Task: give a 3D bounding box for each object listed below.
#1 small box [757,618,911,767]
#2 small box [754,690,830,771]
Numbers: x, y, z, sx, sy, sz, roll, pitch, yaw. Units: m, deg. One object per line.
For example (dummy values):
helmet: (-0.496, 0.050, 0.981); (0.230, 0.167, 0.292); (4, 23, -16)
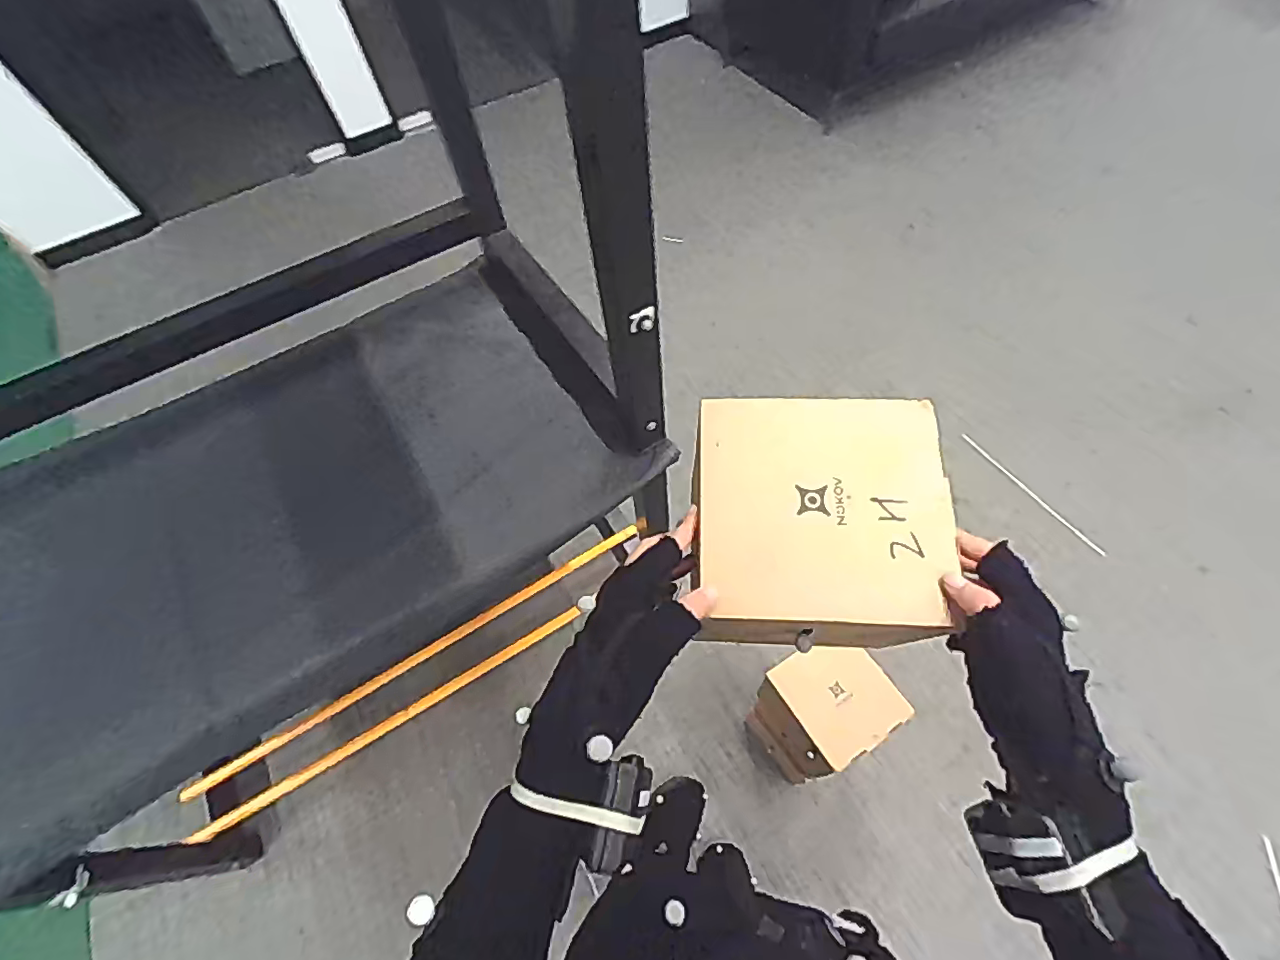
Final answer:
small box: (0.322, 0.376, 0.943); (0.168, 0.176, 0.179); (-30, 62, -11)
small box: (0.349, 0.455, 1.084); (0.168, 0.176, 0.179); (-32, 62, -13)
